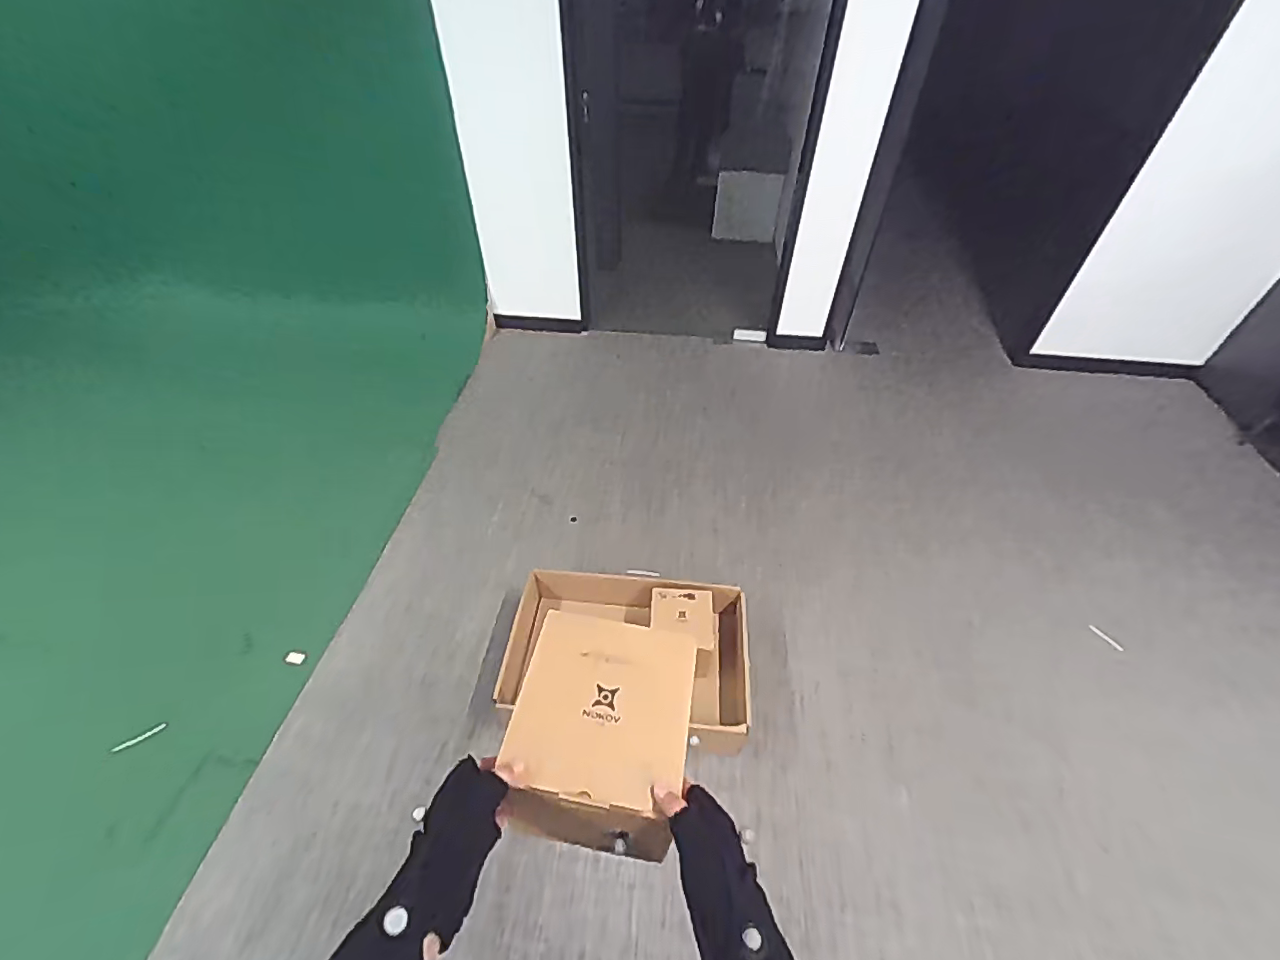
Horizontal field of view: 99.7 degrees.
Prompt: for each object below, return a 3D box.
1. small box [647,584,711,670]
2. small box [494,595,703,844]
[{"bbox_3d":[0.103,0.404,1.476,0.168,0.176,0.179,0,46,2],"label":"small box"},{"bbox_3d":[-0.033,0.250,0.563,0.168,0.176,0.179,10,44,5],"label":"small box"}]
